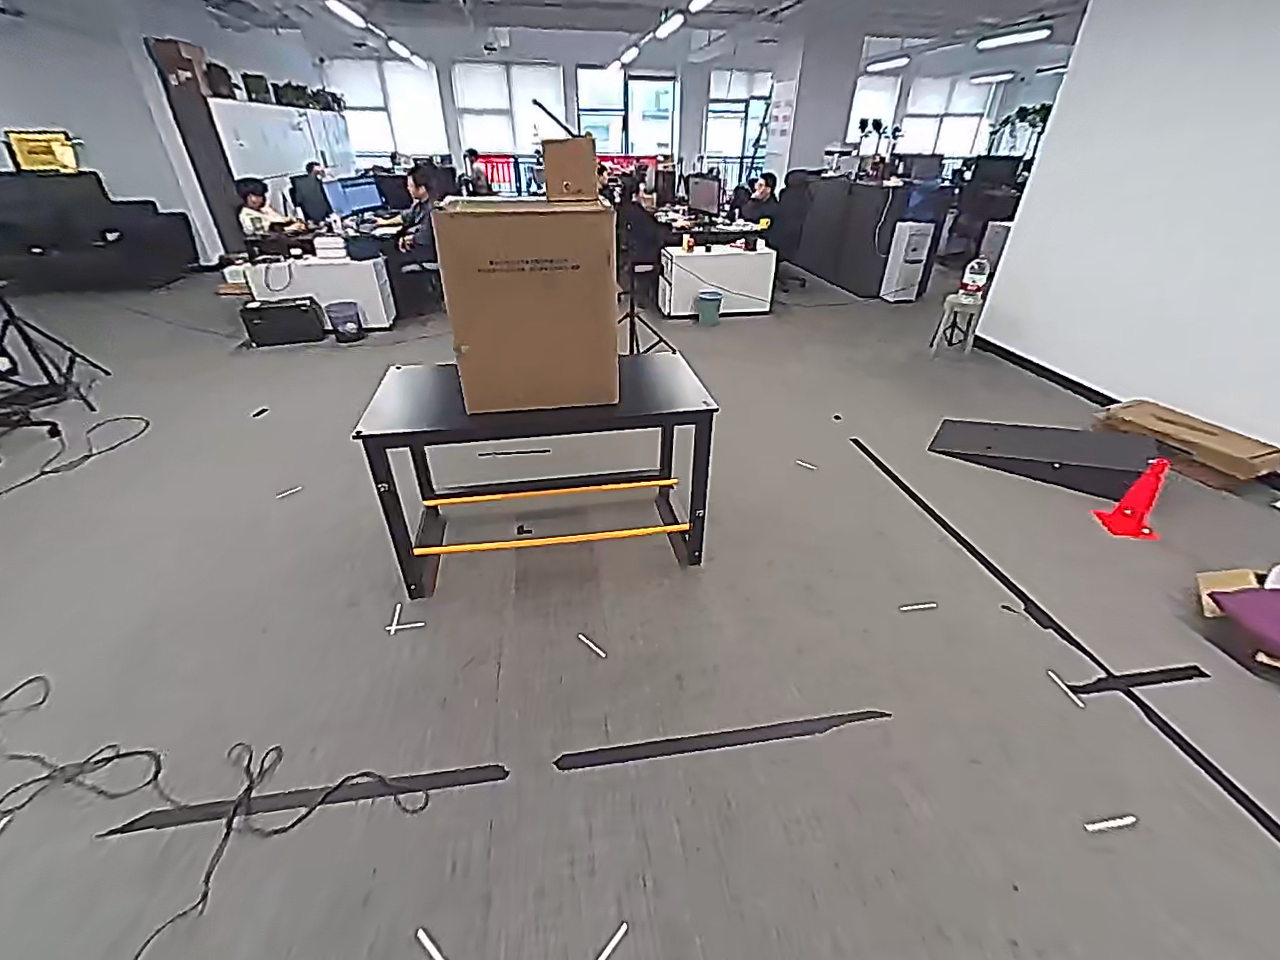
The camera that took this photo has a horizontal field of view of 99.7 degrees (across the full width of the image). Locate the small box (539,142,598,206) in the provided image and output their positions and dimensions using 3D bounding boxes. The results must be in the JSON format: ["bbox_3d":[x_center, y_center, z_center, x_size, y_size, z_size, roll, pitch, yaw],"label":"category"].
[{"bbox_3d":[-0.227,-0.972,1.721,0.168,0.176,0.179,-7,32,-6],"label":"small box"}]
